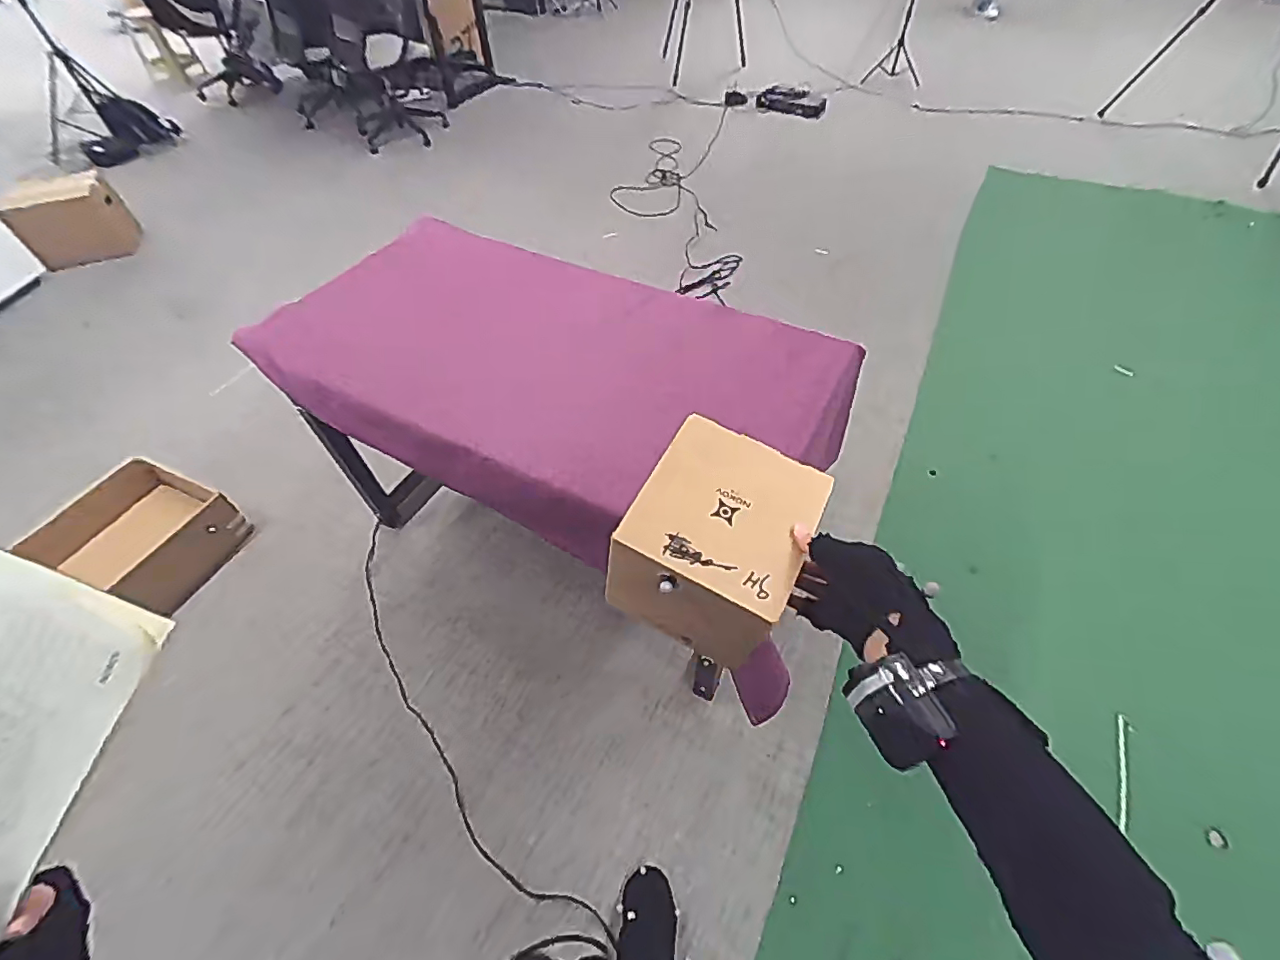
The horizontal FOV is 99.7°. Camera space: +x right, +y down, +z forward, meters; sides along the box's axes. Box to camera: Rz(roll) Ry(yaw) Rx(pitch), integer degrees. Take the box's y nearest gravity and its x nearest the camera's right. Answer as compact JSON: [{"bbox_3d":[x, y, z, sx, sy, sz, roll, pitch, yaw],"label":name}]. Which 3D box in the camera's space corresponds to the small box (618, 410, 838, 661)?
[{"bbox_3d":[0.084,0.065,0.587,0.168,0.176,0.179,27,59,11],"label":"small box"}]
